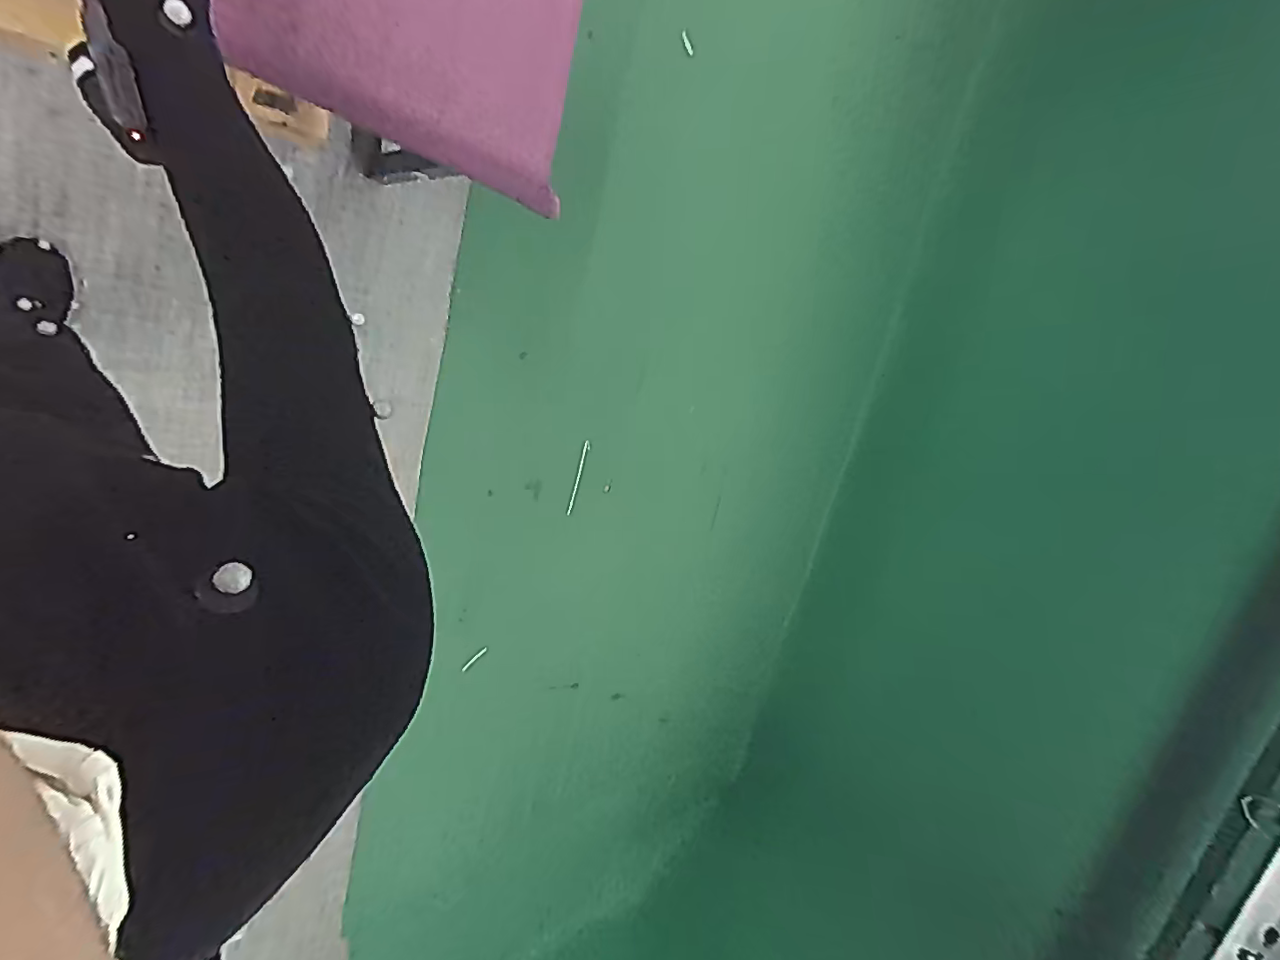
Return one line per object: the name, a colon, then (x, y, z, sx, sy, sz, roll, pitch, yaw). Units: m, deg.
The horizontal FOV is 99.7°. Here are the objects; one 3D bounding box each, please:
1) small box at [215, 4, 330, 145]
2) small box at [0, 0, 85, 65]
small box: (-0.767, -0.826, 1.127, 0.168, 0.176, 0.179, -4, 110, -46)
small box: (-1.026, -0.800, 0.866, 0.179, 0.176, 0.168, -8, 113, -44)
